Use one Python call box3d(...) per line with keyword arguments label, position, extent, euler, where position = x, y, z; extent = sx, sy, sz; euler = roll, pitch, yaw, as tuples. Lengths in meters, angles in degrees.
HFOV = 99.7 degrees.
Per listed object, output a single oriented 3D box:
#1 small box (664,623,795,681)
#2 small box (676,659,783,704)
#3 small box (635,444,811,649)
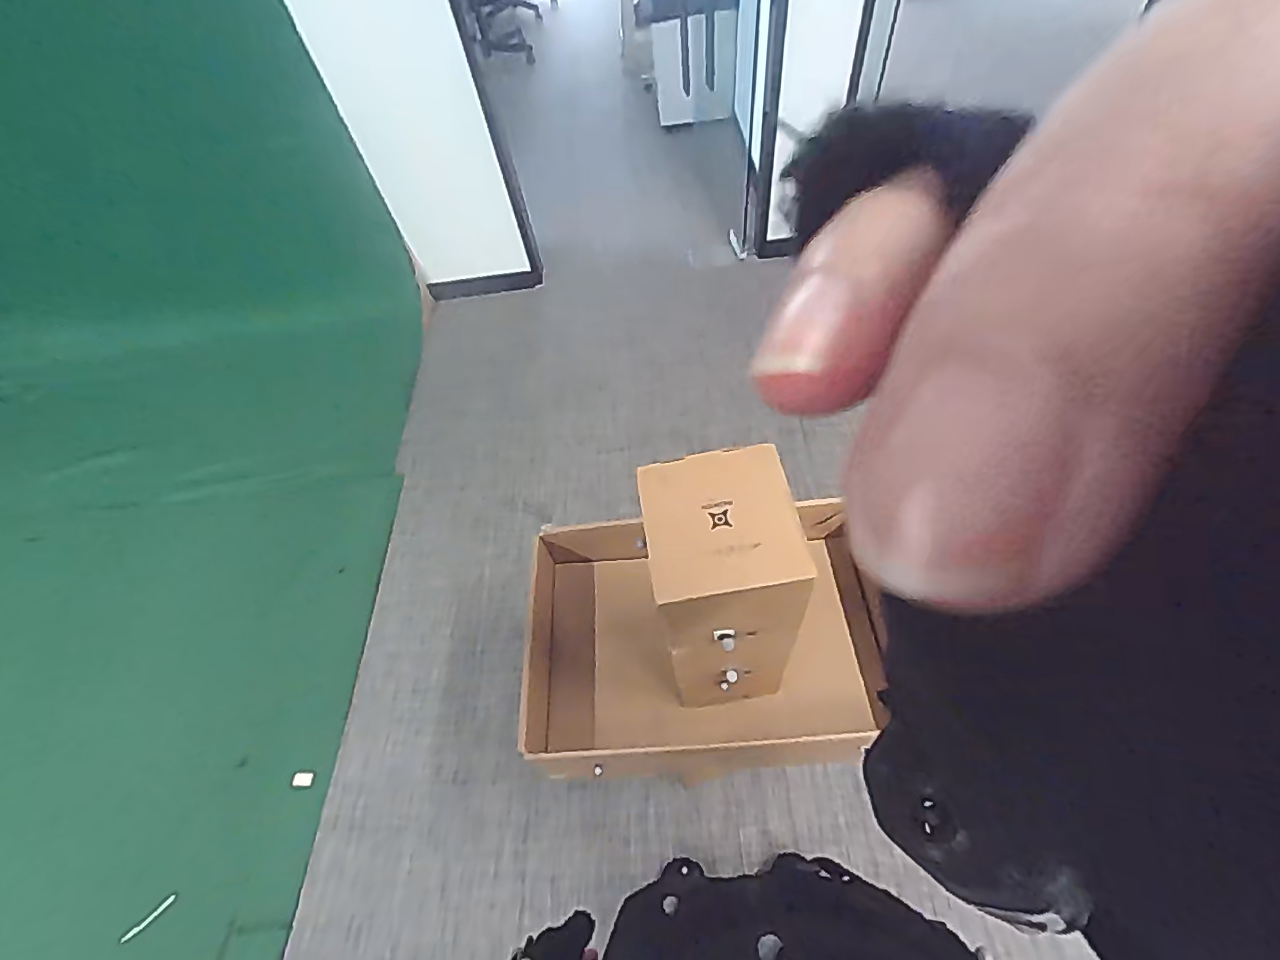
box3d(label="small box", position=(0.113, 0.175, 0.789), extent=(0.168, 0.176, 0.179), euler=(-10, 55, 2))
box3d(label="small box", position=(0.136, 0.263, 0.925), extent=(0.168, 0.176, 0.179), euler=(-11, 54, 3))
box3d(label="small box", position=(0.093, 0.085, 0.657), extent=(0.168, 0.176, 0.179), euler=(-11, 56, 3))
